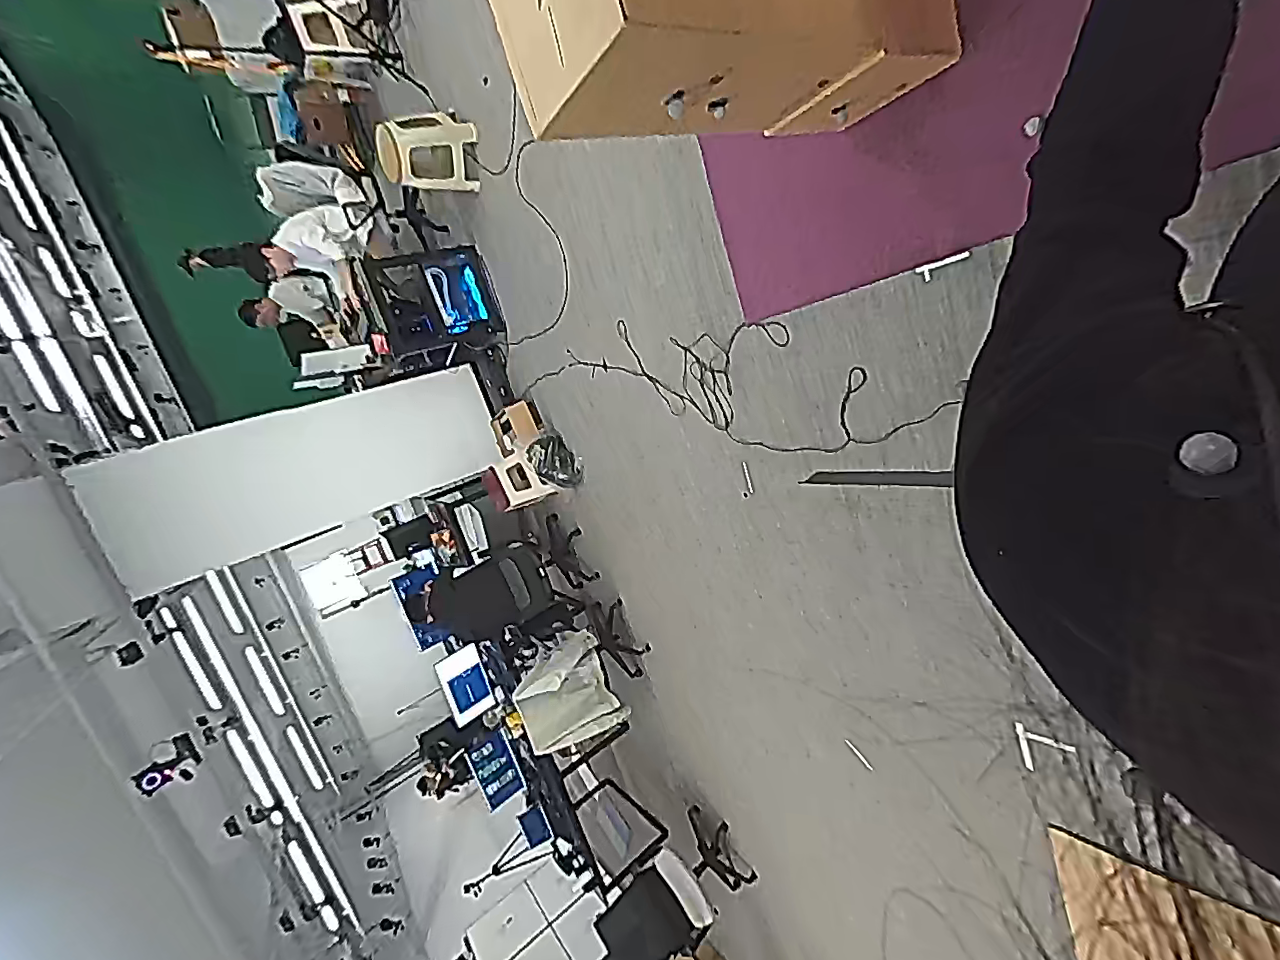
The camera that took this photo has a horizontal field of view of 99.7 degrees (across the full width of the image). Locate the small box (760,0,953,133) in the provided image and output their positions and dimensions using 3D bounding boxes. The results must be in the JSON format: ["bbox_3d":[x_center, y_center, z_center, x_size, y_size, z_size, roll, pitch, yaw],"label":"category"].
[{"bbox_3d":[0.237,-0.542,0.632,0.168,0.176,0.179,3,113,56],"label":"small box"}]

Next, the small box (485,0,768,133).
[{"bbox_3d":[-0.019,-0.427,0.461,0.168,0.176,0.179,3,114,56],"label":"small box"}]

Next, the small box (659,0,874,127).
[{"bbox_3d":[0.107,-0.488,0.548,0.168,0.176,0.179,2,112,57],"label":"small box"}]
